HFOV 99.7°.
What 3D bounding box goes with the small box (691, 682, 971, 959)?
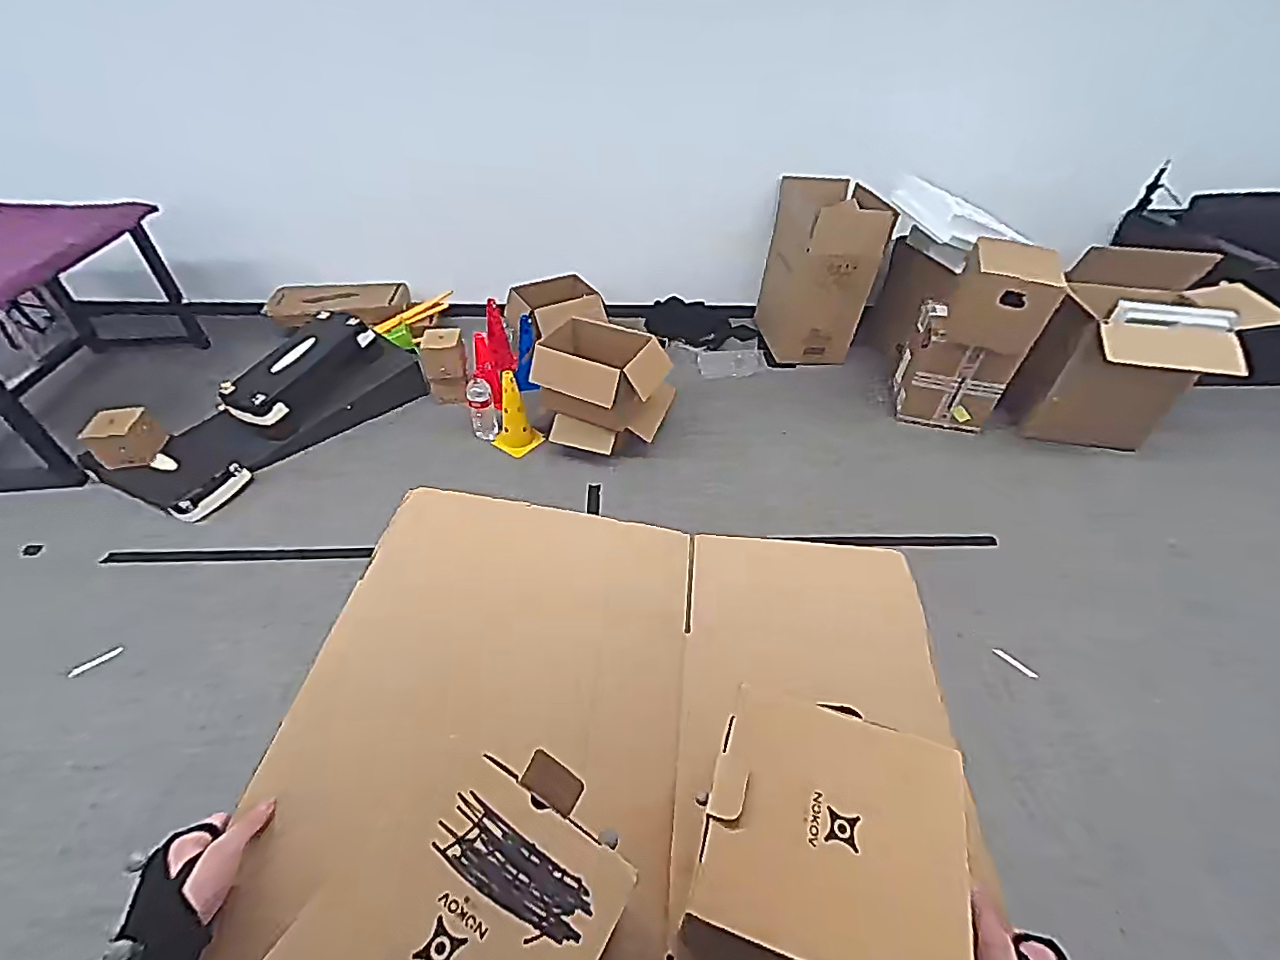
[{"bbox_3d":[0.148,0.303,0.455,0.179,0.176,0.168,12,48,15],"label":"small box"}]
